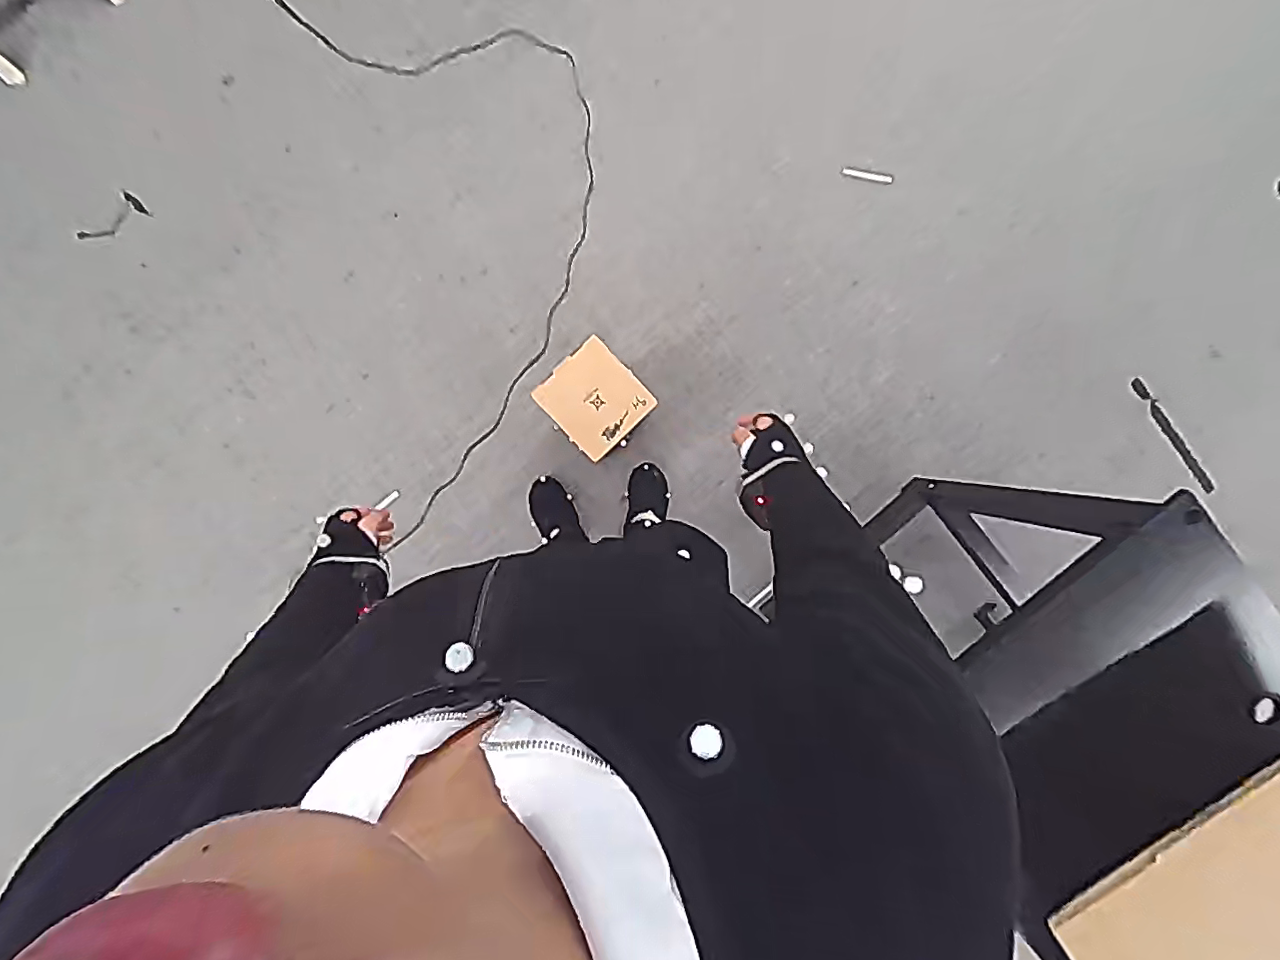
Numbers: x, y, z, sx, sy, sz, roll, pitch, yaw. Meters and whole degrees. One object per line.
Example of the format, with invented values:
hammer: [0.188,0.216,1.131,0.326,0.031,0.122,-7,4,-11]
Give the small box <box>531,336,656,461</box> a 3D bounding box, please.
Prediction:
small box: [-0.089,-0.151,1.072,0.168,0.176,0.179,-44,94,0]
